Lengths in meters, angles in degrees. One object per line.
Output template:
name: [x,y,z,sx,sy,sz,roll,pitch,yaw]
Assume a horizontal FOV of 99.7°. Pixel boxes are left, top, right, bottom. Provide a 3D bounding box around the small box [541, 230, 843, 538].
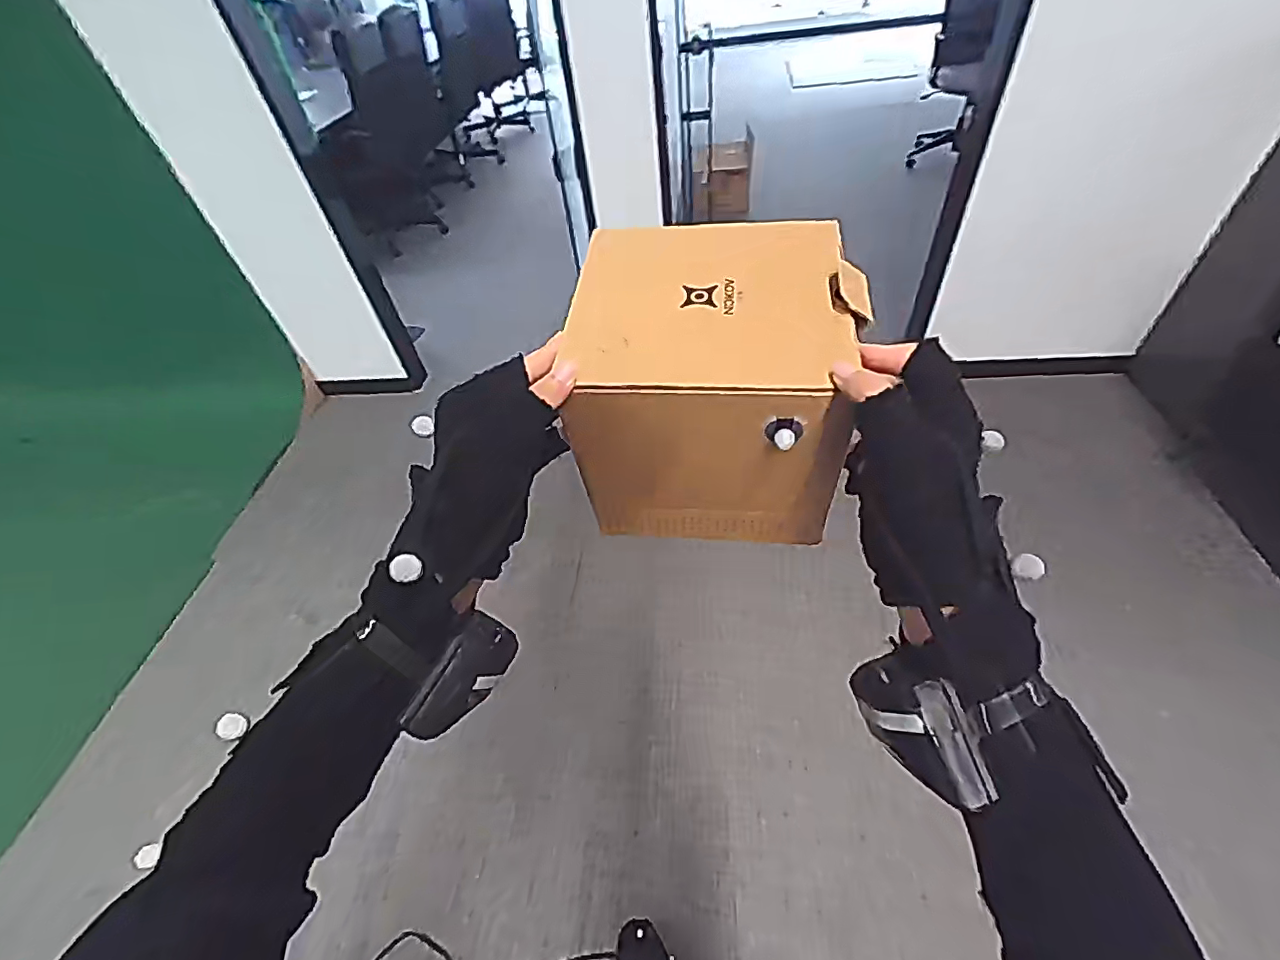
small box: [0.043,-0.067,0.416,0.179,0.176,0.168,2,54,7]
